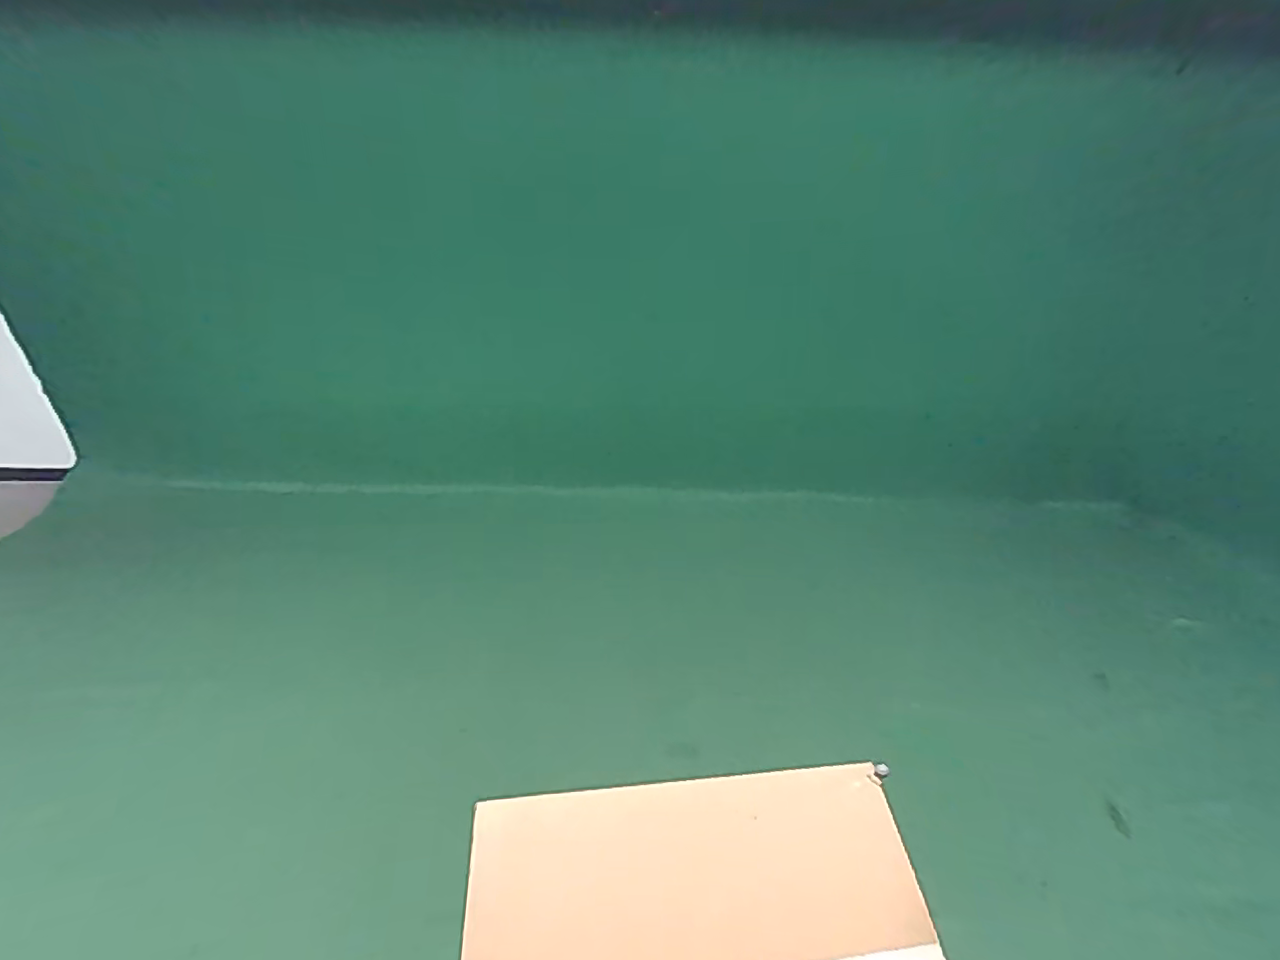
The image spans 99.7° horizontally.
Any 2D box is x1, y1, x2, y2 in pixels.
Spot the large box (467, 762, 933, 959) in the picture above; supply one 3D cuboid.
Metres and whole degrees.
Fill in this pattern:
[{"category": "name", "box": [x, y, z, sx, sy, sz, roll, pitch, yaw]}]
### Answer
[{"category": "large box", "box": [0.046, 0.522, 0.550, 0.408, 0.320, 0.320, -2, 47, -8]}]
